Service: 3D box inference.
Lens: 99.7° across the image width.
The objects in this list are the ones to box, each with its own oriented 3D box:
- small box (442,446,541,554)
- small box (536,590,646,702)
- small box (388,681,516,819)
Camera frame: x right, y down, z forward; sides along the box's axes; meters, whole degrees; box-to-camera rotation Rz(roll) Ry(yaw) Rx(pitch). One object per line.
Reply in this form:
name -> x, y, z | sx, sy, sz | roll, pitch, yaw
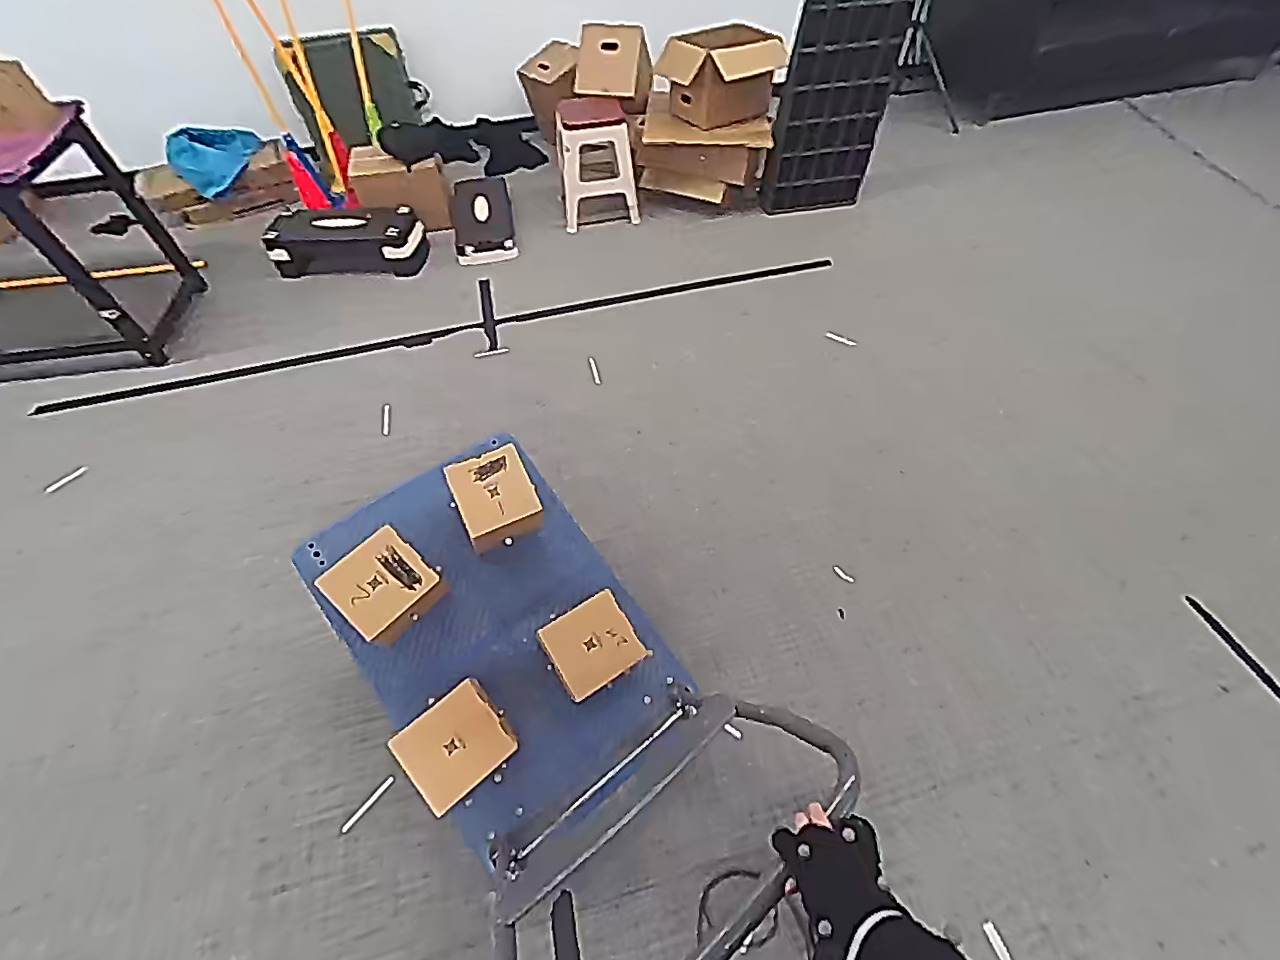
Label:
small box -> -0.344, 0.051, 1.261 | 0.168, 0.176, 0.179 | -23, 77, -19
small box -> -0.114, 0.368, 1.193 | 0.179, 0.176, 0.168 | -29, 79, -20
small box -> -0.364, 0.527, 1.079 | 0.179, 0.176, 0.168 | -37, 81, -23
